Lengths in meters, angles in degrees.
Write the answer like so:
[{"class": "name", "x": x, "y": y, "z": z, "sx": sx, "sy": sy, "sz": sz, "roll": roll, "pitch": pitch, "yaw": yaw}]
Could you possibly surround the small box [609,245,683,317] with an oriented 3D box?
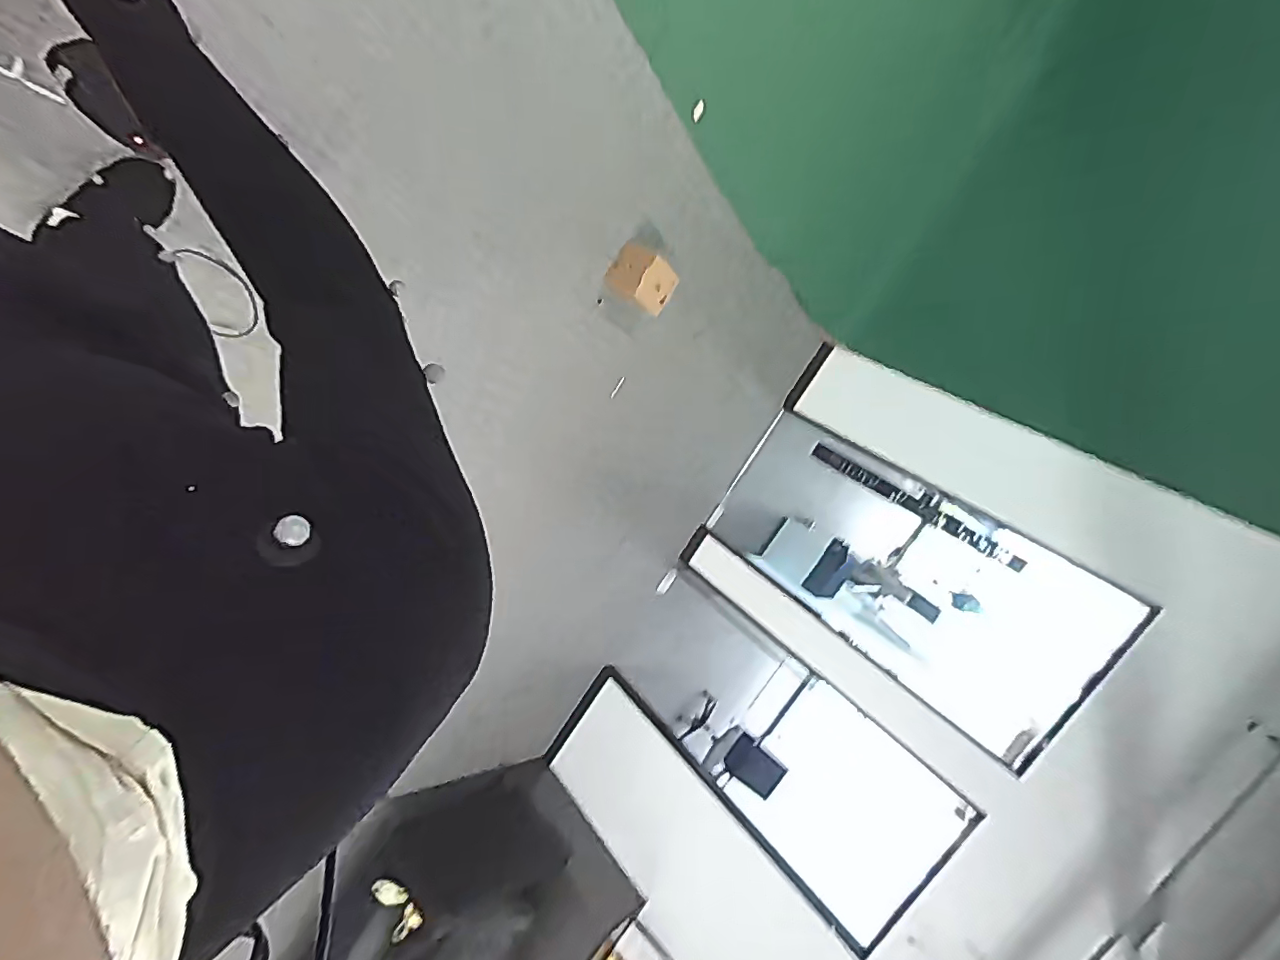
[{"class": "small box", "x": 0.018, "y": -0.737, "z": 1.987, "sx": 0.168, "sy": 0.176, "sz": 0.179, "roll": -55, "pitch": 146, "yaw": 6}]
